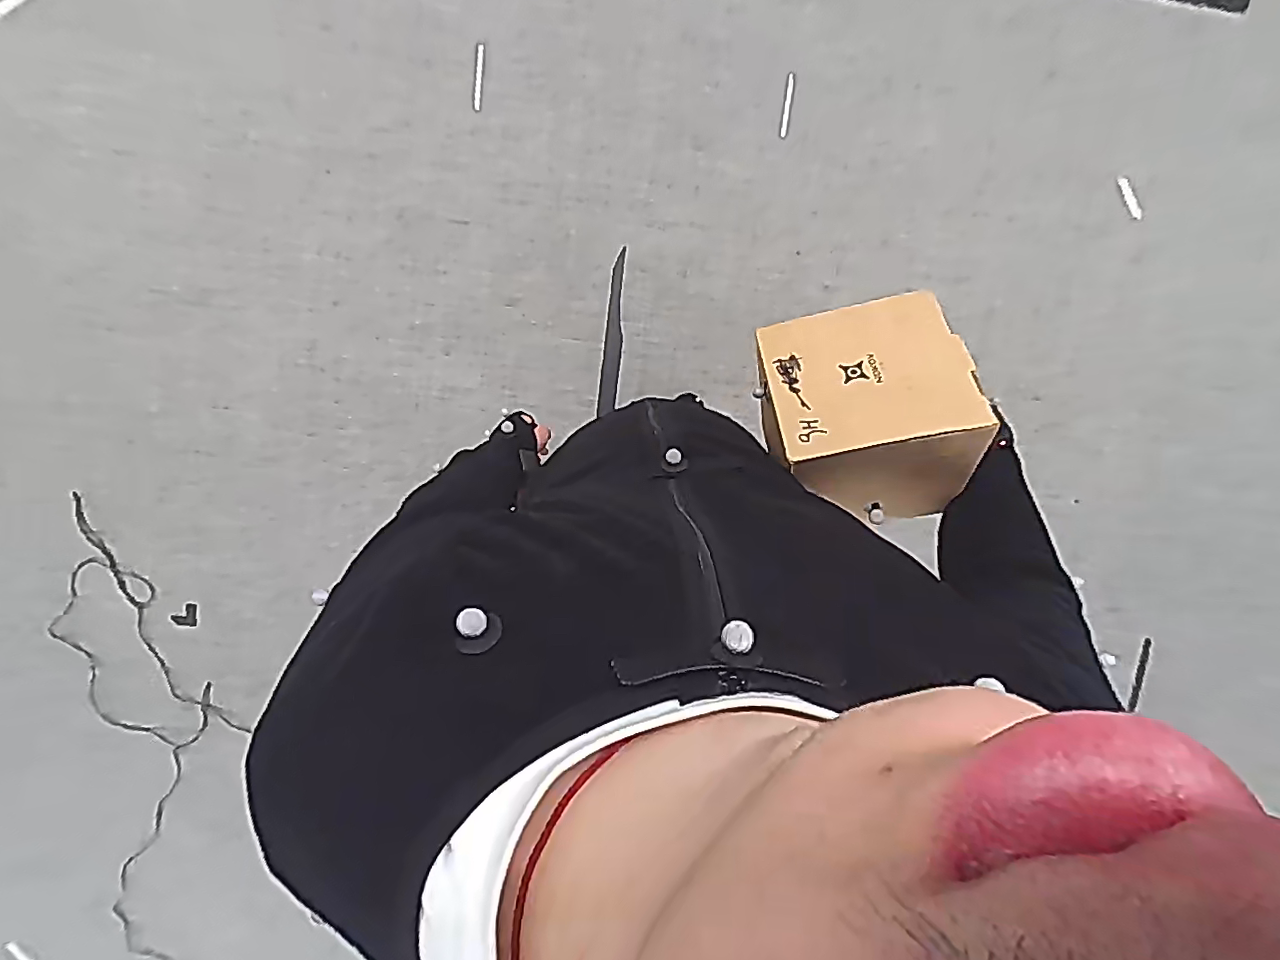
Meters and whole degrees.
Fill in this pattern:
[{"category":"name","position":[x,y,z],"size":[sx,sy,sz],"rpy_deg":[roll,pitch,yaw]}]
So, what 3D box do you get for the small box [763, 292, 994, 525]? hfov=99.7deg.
[{"category":"small box","position":[0.235,-0.067,0.585],"size":[0.179,0.176,0.168],"rpy_deg":[-10,58,10]}]
